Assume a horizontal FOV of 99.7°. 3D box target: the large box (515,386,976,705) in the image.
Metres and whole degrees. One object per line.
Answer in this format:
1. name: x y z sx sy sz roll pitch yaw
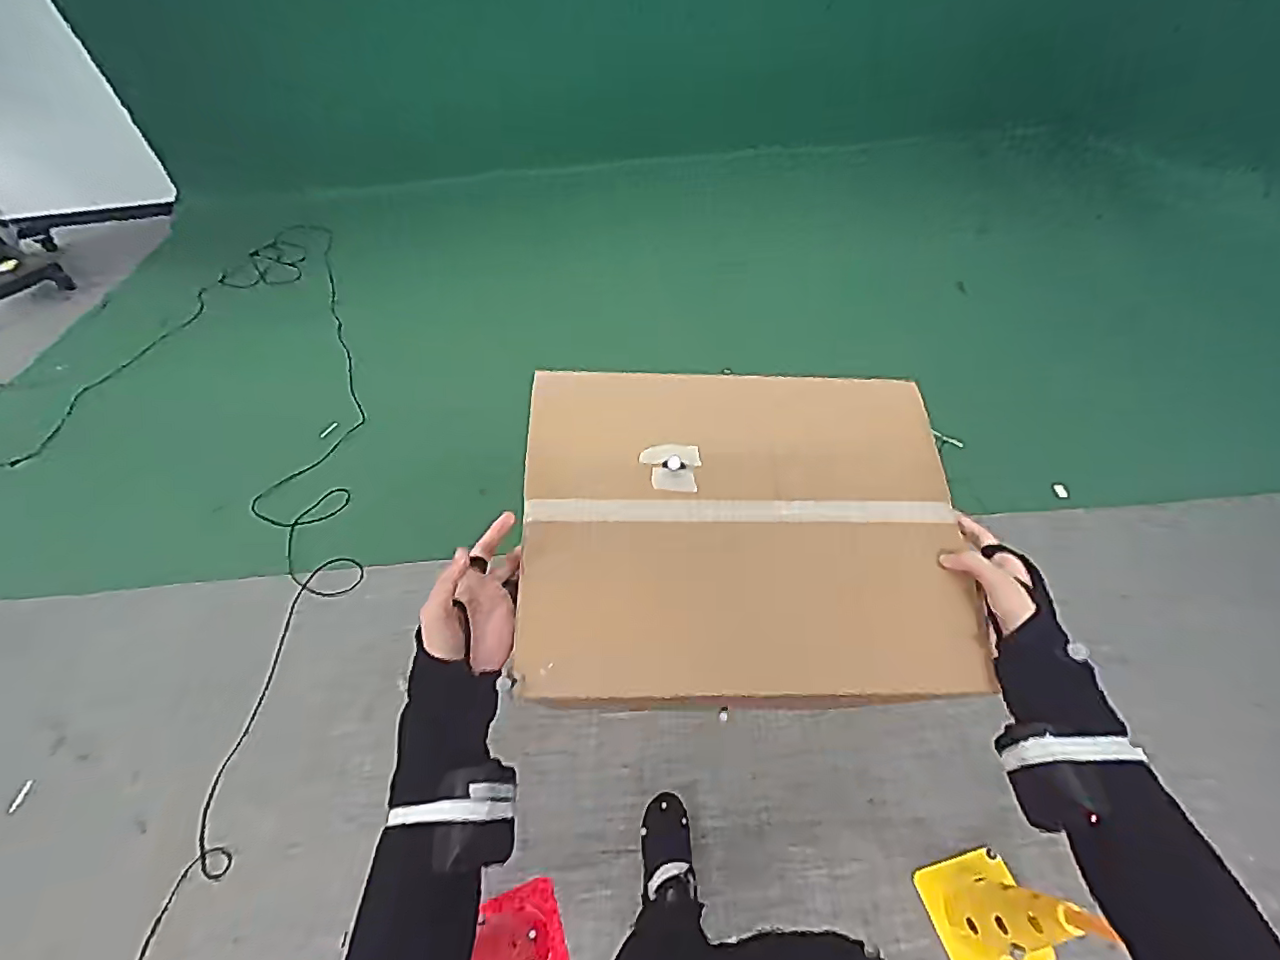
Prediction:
1. large box: 0.087 0.099 0.652 0.408 0.320 0.320 0 65 -2
